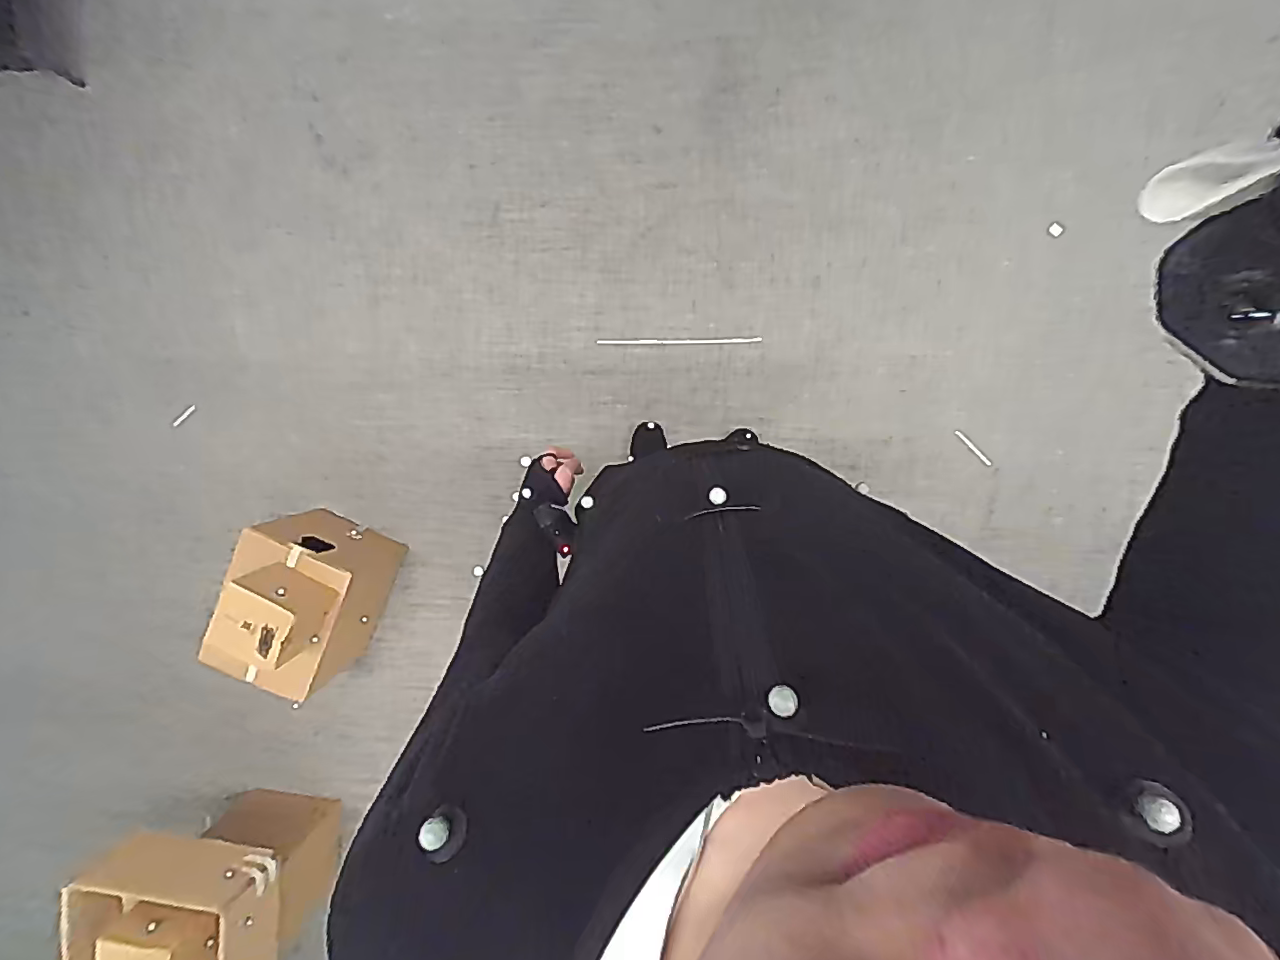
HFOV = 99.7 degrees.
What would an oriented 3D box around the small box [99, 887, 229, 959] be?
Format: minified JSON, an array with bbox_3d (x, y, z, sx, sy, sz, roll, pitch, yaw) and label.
[{"bbox_3d":[-1.159,1.145,1.322,0.179,0.176,0.168,8,97,1],"label":"small box"}]

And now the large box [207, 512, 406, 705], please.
[{"bbox_3d":[-0.948,0.351,1.577,0.320,0.320,0.408,24,98,1],"label":"large box"}]

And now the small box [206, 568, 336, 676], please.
[{"bbox_3d":[-0.891,0.338,1.324,0.179,0.176,0.168,27,97,-1],"label":"small box"}]
